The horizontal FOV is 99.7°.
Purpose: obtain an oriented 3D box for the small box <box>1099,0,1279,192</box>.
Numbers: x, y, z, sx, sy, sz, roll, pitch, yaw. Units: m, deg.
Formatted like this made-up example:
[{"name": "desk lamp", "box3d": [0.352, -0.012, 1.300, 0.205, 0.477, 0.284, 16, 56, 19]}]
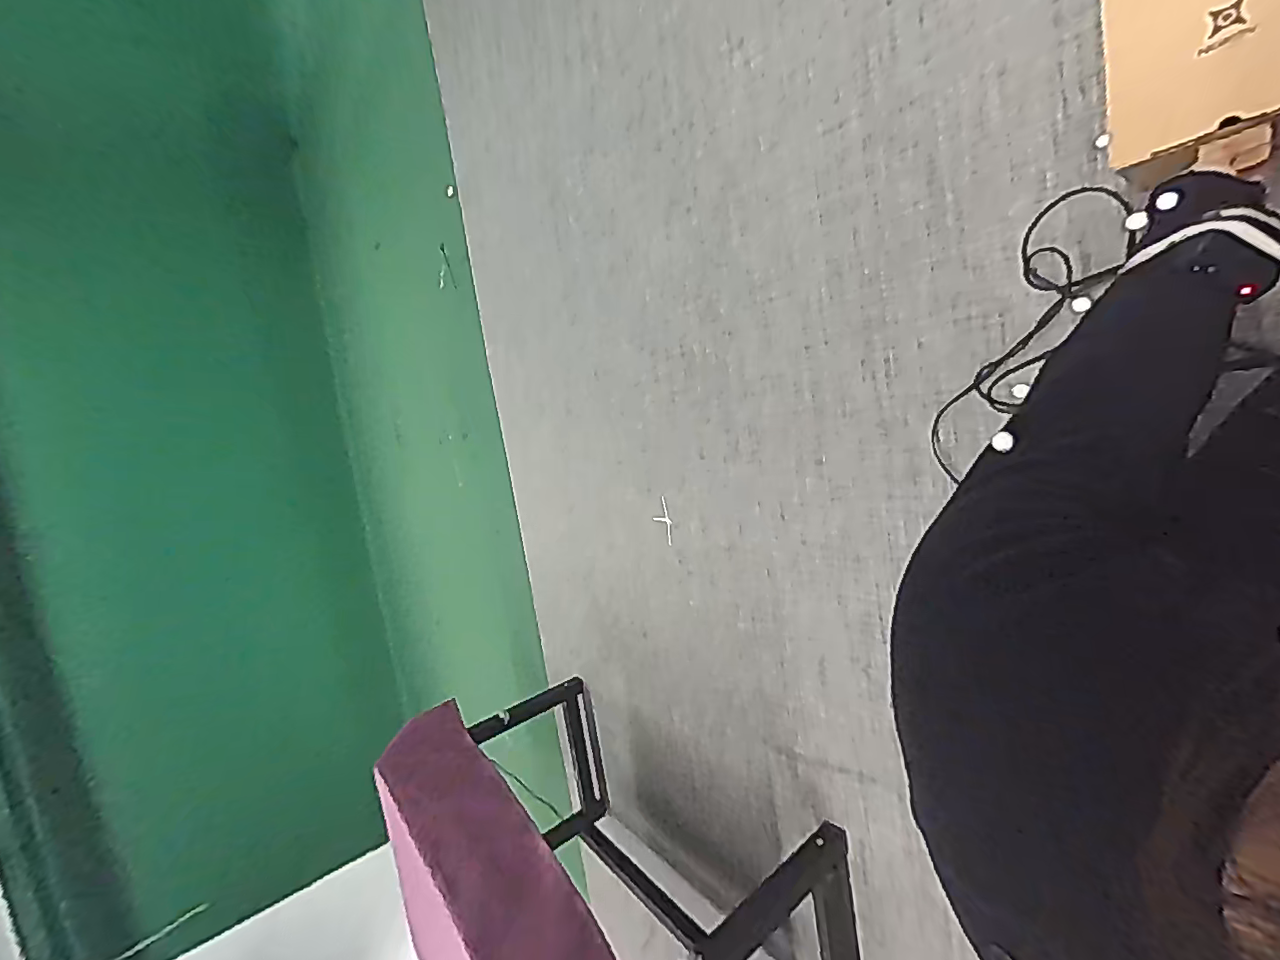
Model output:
[{"name": "small box", "box3d": [0.575, -0.411, 0.526, 0.168, 0.176, 0.179, 0, 101, 53]}]
